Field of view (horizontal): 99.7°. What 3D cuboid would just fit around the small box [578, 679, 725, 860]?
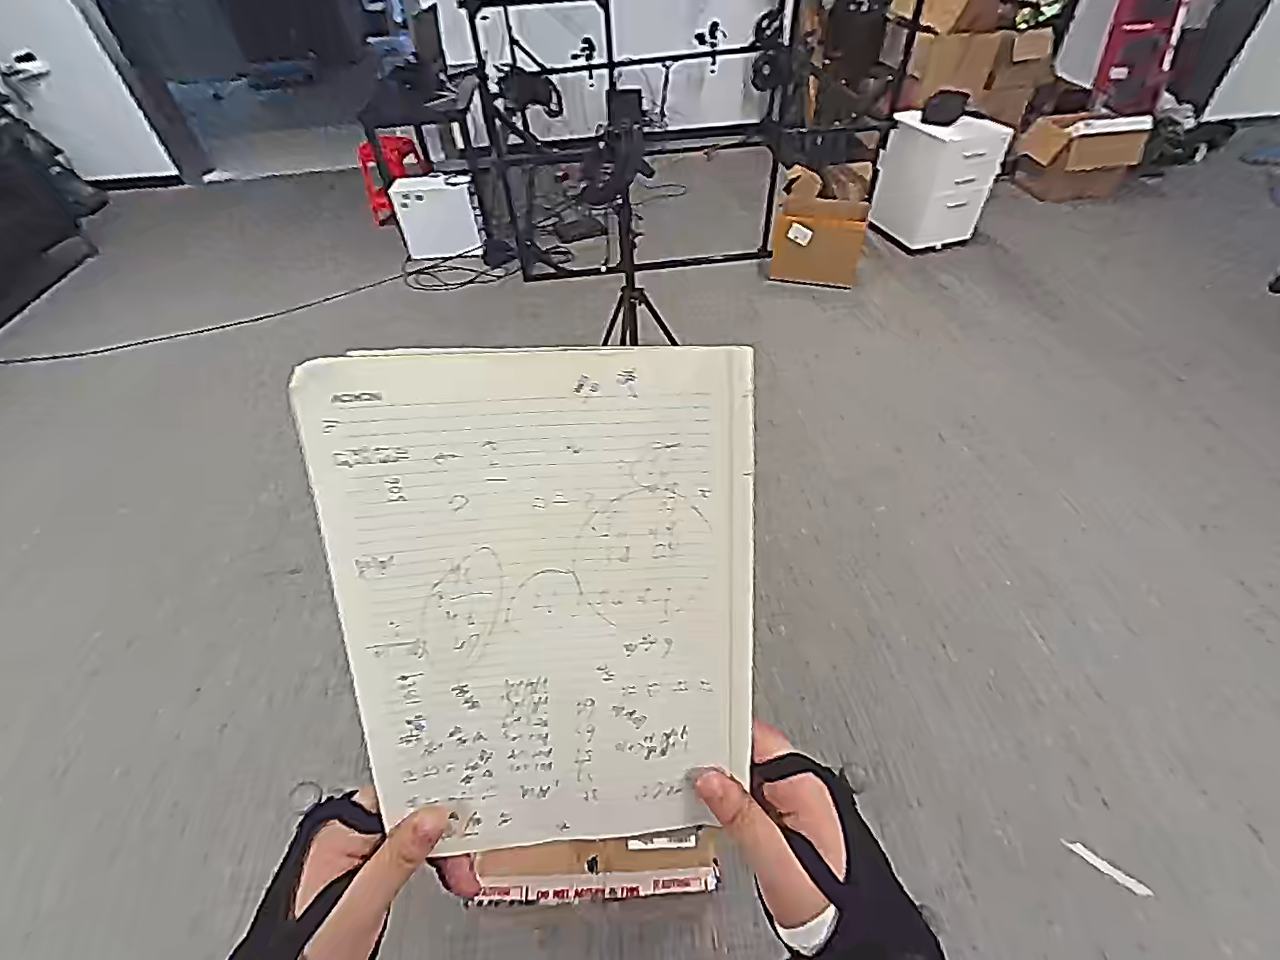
[{"bbox_3d":[0.012,0.380,0.710,0.168,0.176,0.179,0,49,0],"label":"small box"}]

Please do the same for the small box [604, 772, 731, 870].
[{"bbox_3d":[0.031,0.487,0.834,0.179,0.176,0.168,-3,48,-2],"label":"small box"}]
